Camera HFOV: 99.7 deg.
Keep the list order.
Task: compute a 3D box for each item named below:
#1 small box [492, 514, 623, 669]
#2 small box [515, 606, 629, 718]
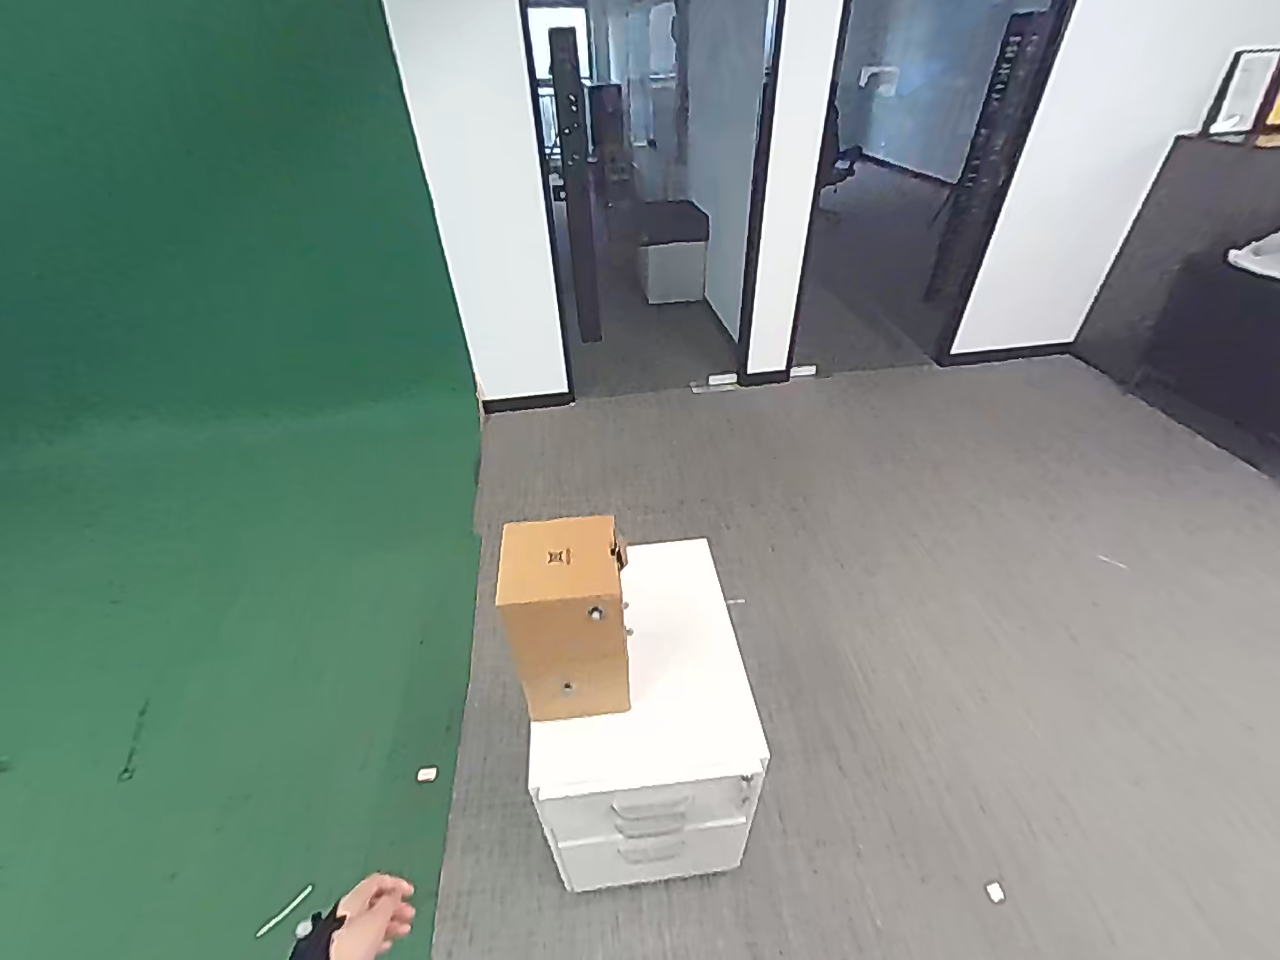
[{"bbox_3d":[-0.122,0.175,0.844,0.179,0.176,0.168,-5,39,-6],"label":"small box"},{"bbox_3d":[-0.115,0.298,0.953,0.179,0.176,0.168,-5,40,-5],"label":"small box"}]
